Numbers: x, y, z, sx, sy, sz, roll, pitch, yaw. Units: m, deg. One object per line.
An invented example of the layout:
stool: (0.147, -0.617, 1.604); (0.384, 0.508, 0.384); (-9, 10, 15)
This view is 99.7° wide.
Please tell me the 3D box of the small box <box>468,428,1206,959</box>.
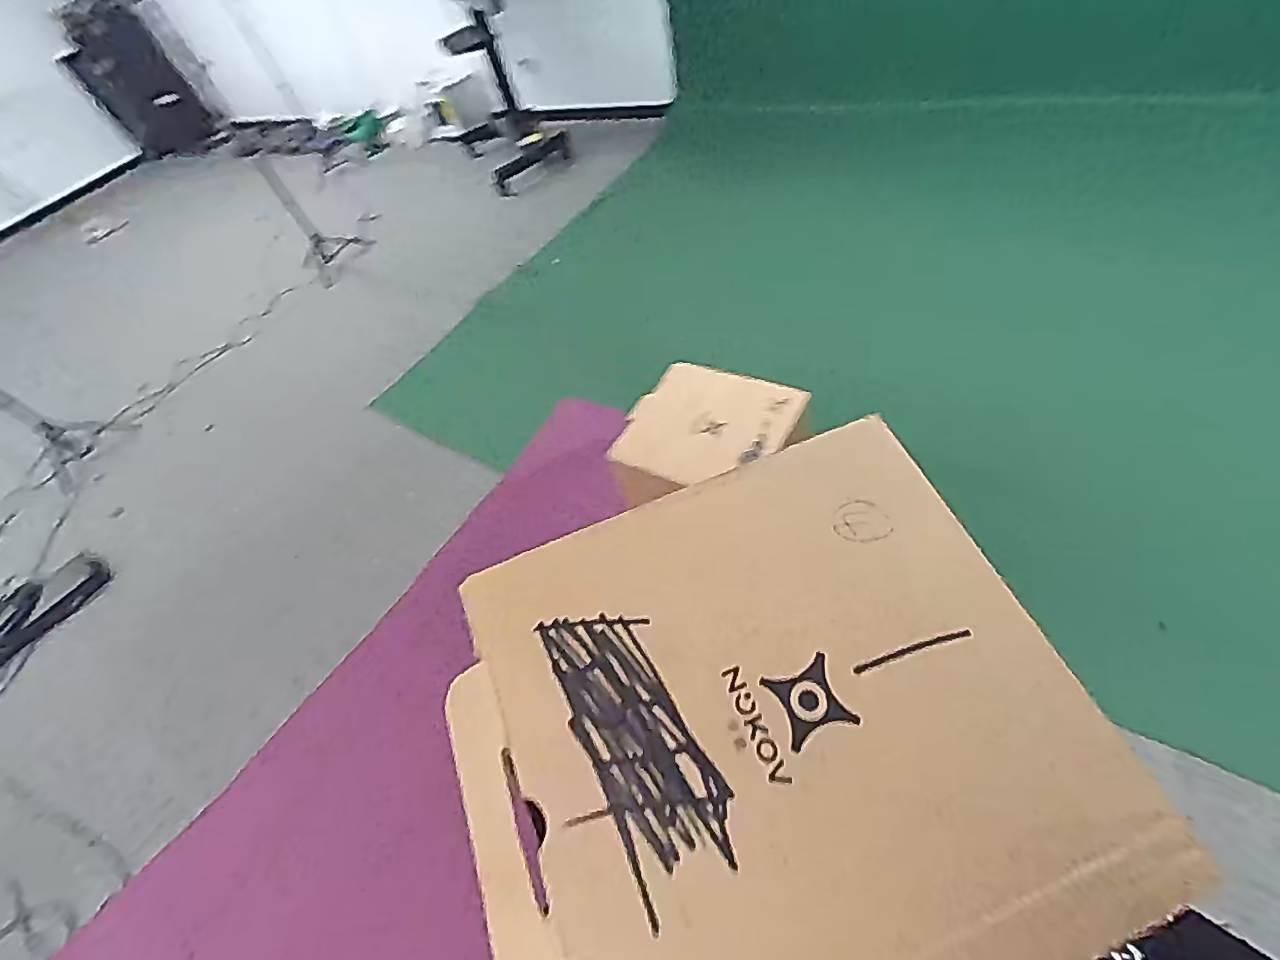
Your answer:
small box: (0.051, 0.111, 0.243); (0.179, 0.176, 0.168); (-22, 64, -5)

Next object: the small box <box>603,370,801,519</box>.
small box: (0.087, -0.008, 0.671); (0.179, 0.176, 0.168); (19, 63, 29)
